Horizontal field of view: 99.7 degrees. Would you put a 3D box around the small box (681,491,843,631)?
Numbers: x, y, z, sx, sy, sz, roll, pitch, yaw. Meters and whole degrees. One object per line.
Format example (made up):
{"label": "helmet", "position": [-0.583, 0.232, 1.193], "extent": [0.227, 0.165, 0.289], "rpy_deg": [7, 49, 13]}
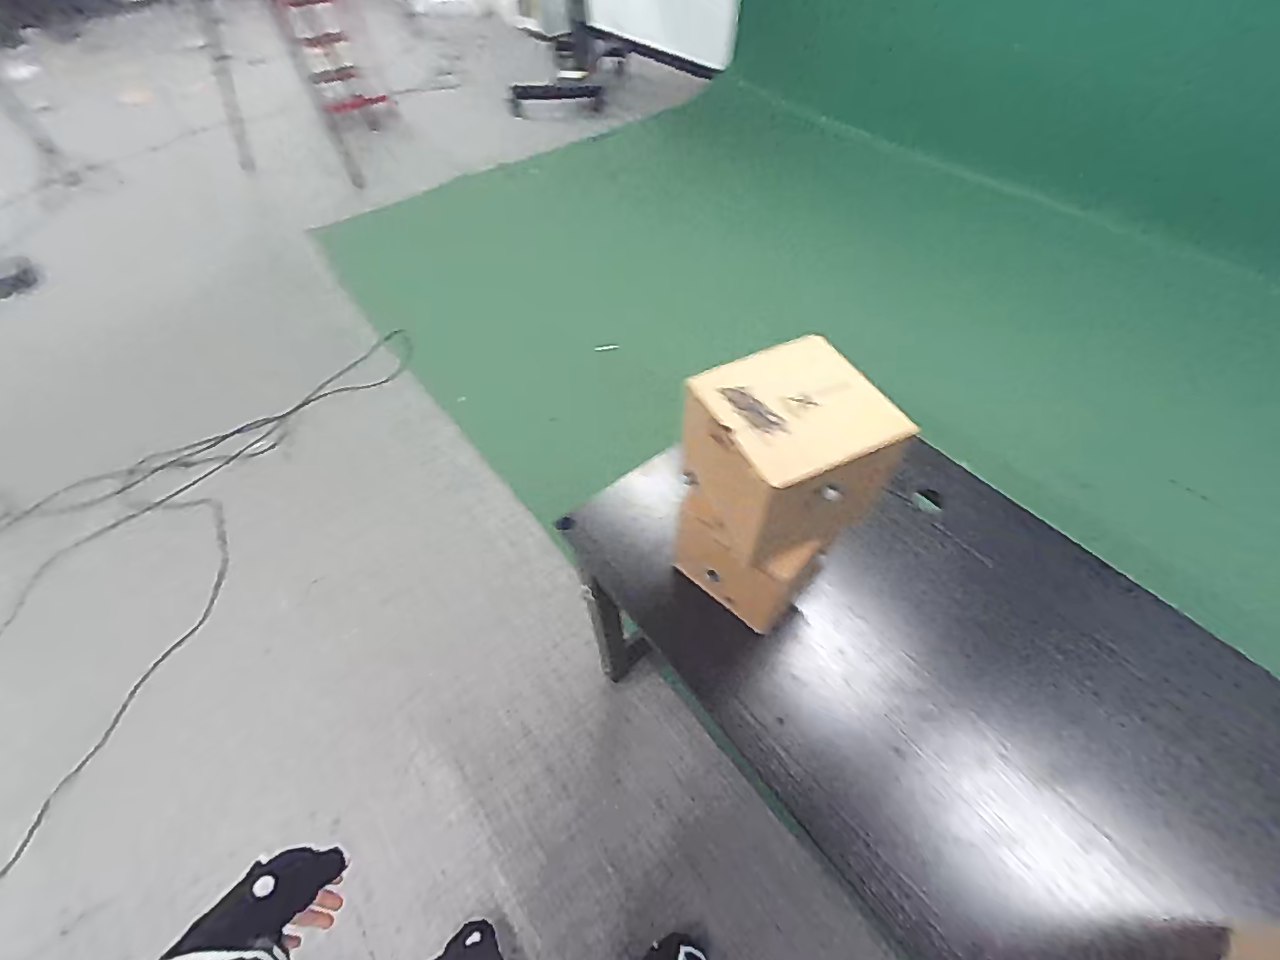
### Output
{"label": "small box", "position": [0.170, 0.075, 0.758], "extent": [0.168, 0.176, 0.179], "rpy_deg": [37, 63, 24]}

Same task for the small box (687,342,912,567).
{"label": "small box", "position": [0.165, -0.025, 0.627], "extent": [0.179, 0.176, 0.168], "rpy_deg": [-21, 56, -15]}
